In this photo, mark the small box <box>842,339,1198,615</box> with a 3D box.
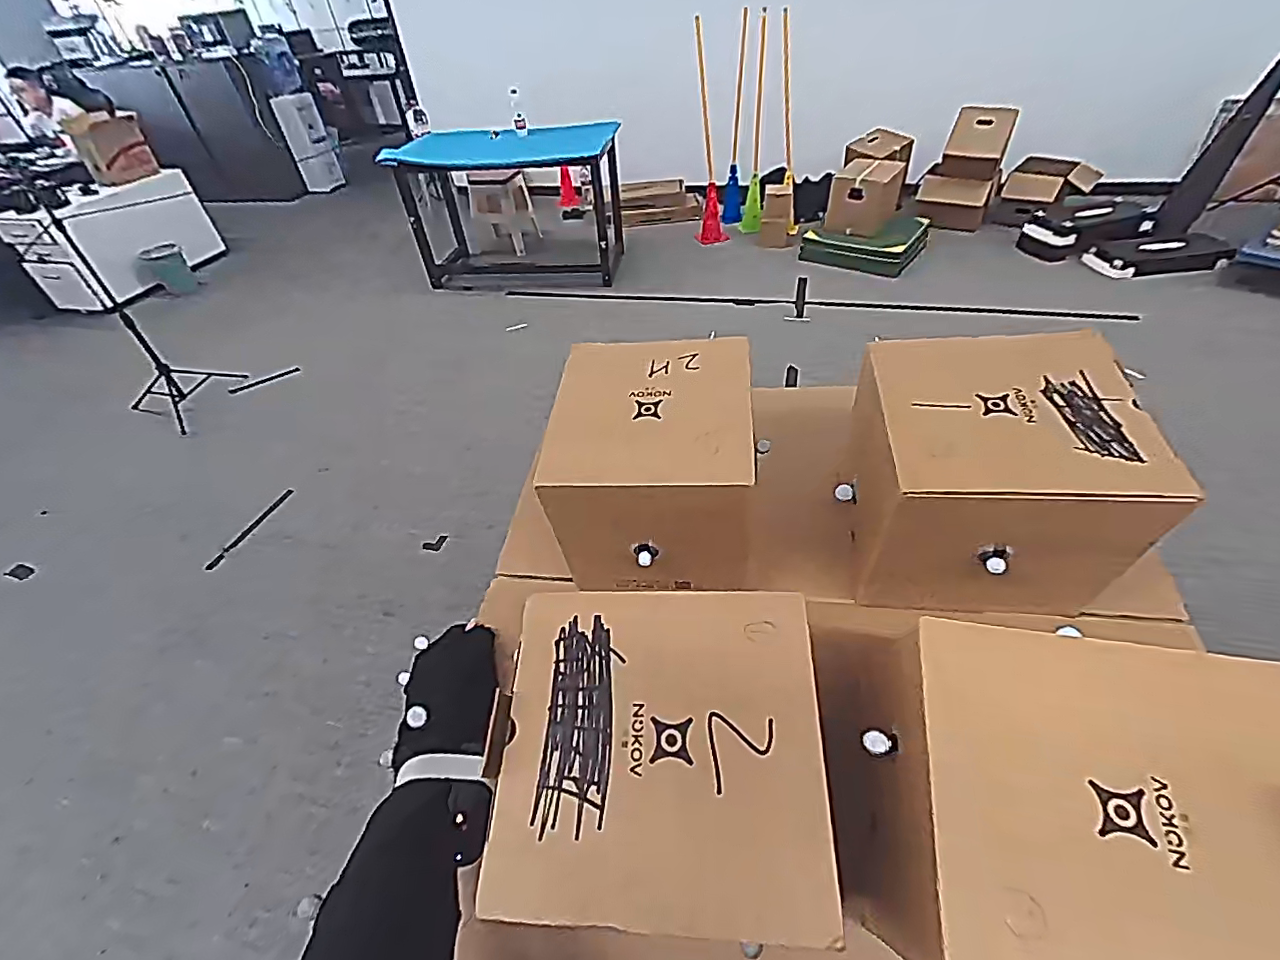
[{"bbox_3d":[0.279,0.002,0.454,0.179,0.176,0.168,1,51,12],"label":"small box"}]

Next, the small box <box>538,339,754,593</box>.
[{"bbox_3d":[0.022,-0.009,0.508,0.168,0.176,0.179,1,51,10],"label":"small box"}]
